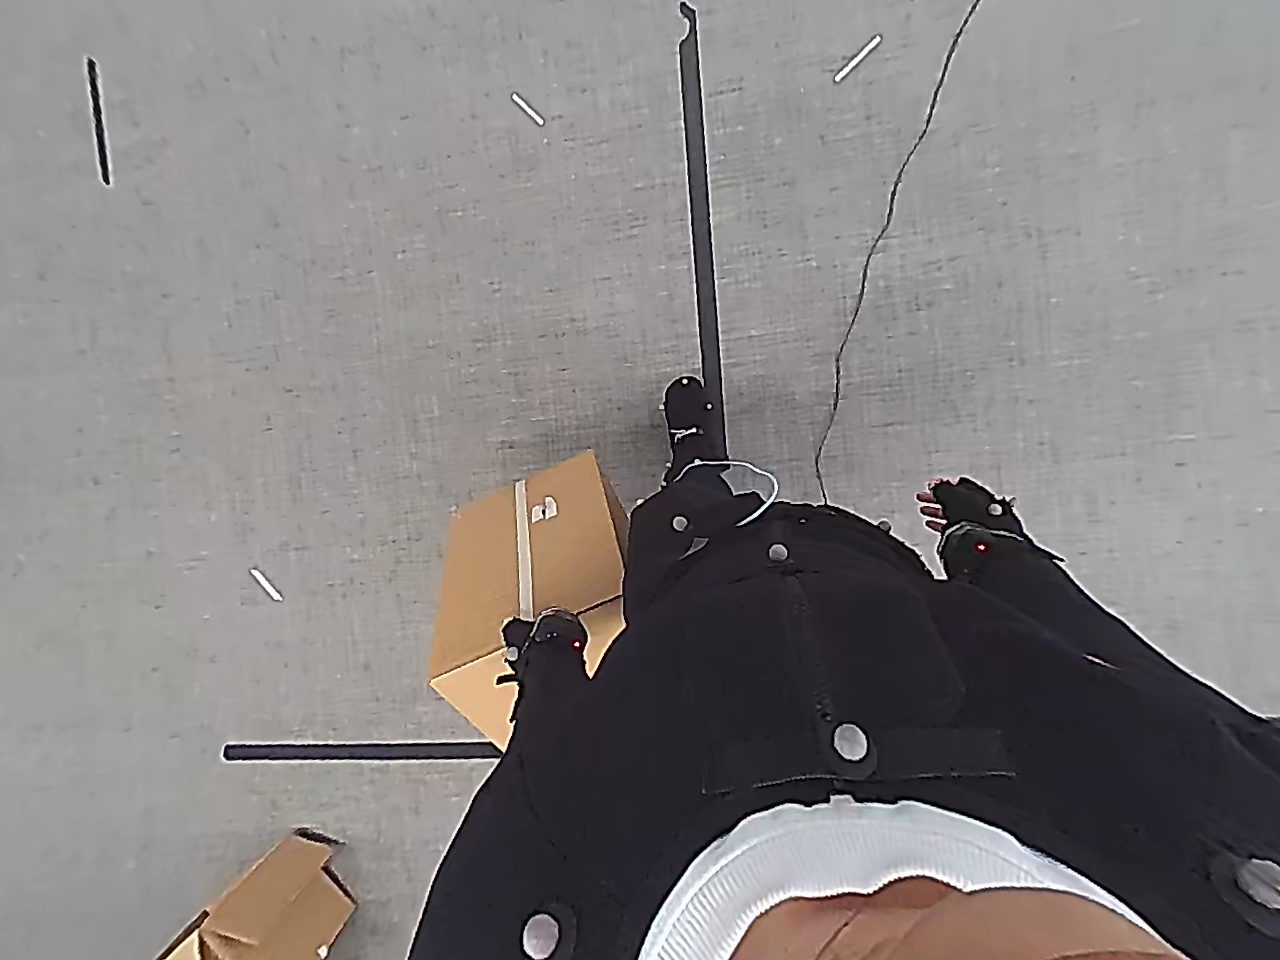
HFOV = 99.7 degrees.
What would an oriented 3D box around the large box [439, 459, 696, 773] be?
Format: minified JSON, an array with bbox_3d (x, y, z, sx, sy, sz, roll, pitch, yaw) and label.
[{"bbox_3d":[-0.132,0.231,0.999,0.320,0.408,0.320,-23,123,1],"label":"large box"}]
